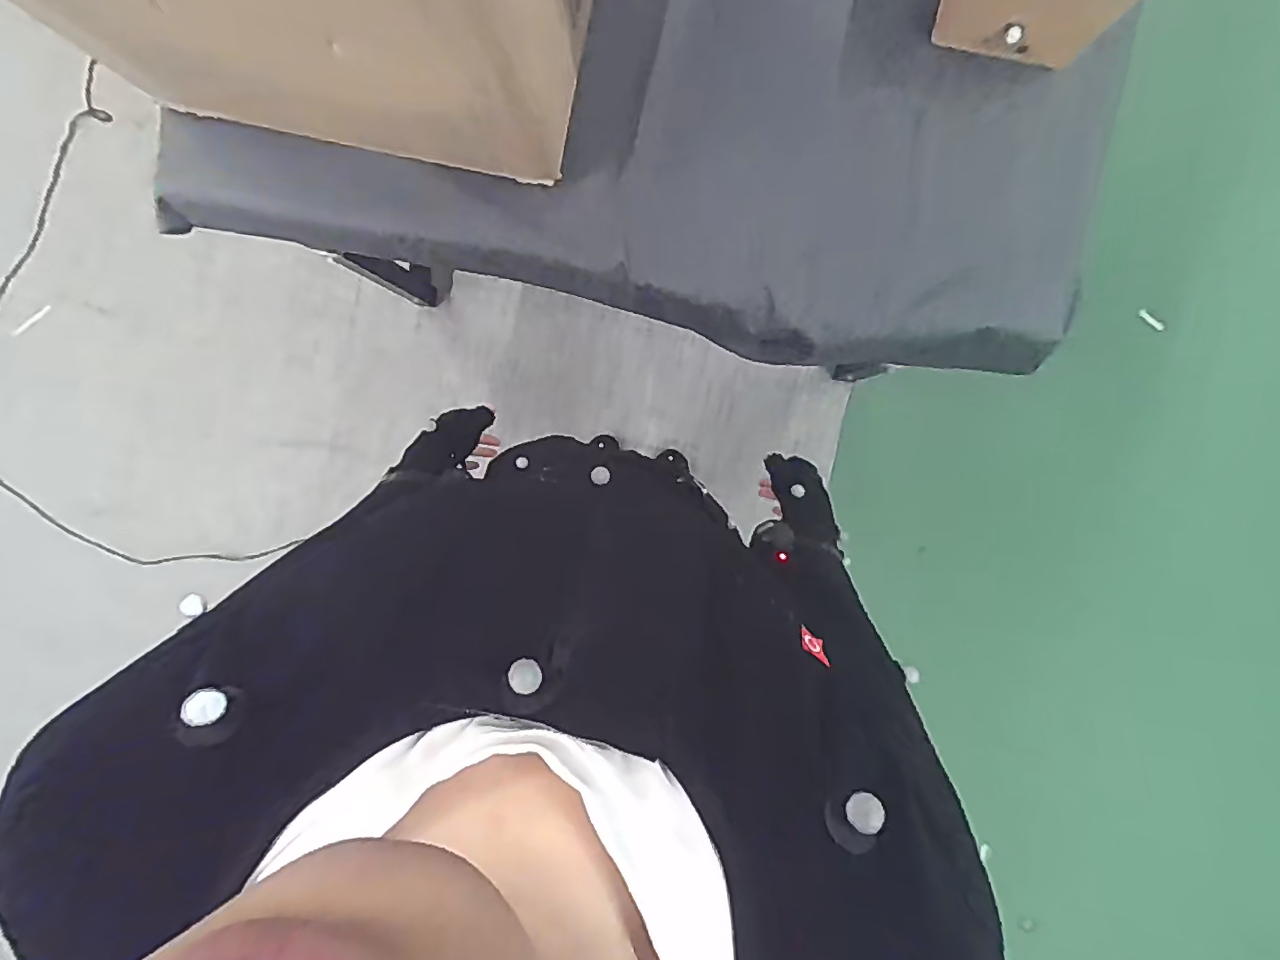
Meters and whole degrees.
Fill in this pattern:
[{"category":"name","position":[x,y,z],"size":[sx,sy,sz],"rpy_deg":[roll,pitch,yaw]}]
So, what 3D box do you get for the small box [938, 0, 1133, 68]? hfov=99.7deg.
[{"category":"small box","position":[0.459,-0.606,0.586],"size":[0.168,0.176,0.179],"rpy_deg":[13,96,1]}]
